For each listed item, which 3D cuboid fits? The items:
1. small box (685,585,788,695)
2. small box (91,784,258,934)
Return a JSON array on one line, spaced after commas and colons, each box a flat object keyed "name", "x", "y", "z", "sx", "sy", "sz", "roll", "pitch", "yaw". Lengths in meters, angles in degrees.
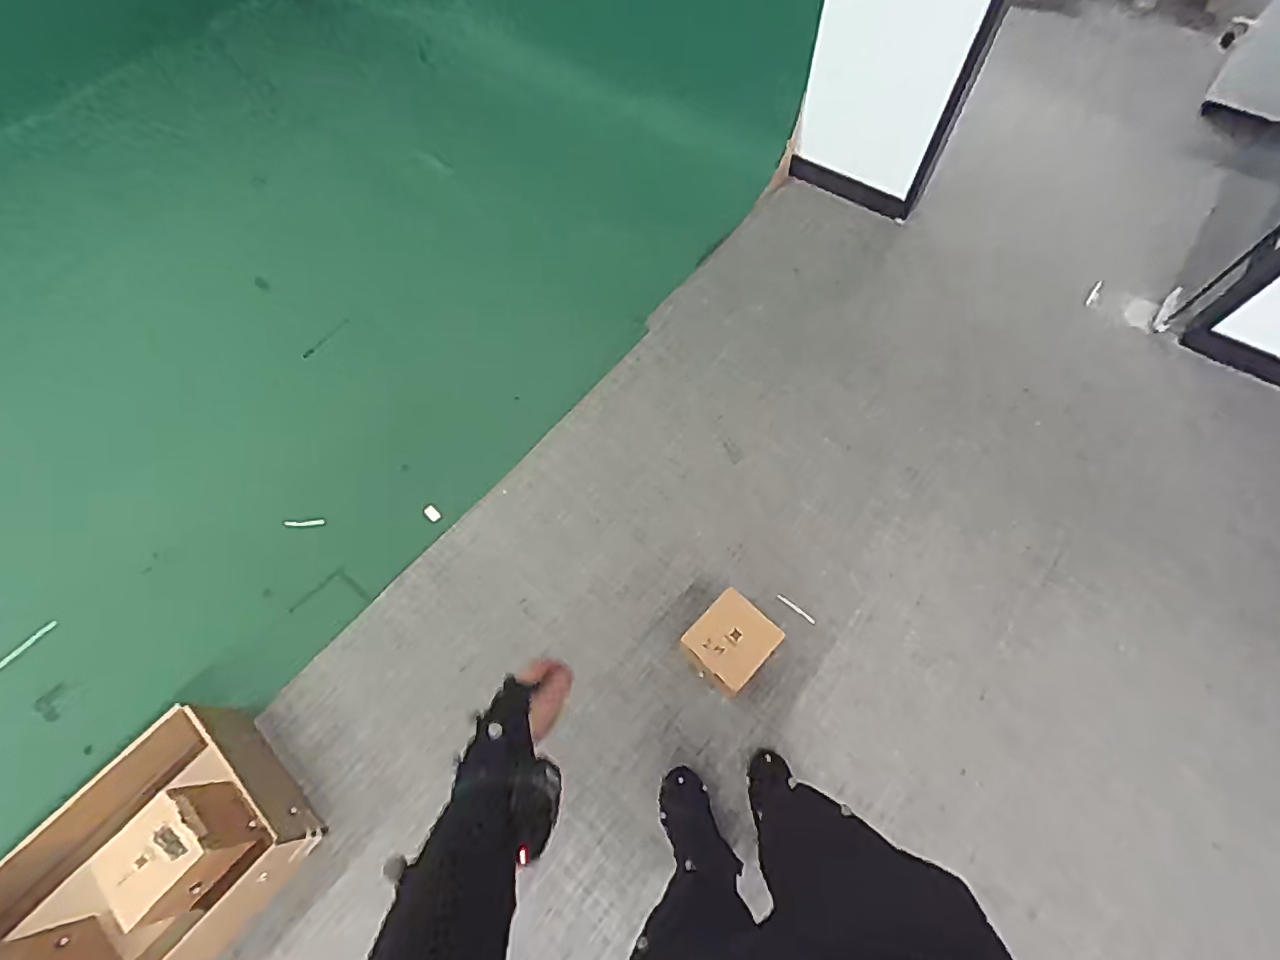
[{"name": "small box", "x": 0.218, "y": 0.382, "z": 1.279, "sx": 0.168, "sy": 0.176, "sz": 0.179, "roll": 41, "pitch": 73, "yaw": 20}, {"name": "small box", "x": -0.934, "y": 0.758, "z": 1.109, "sx": 0.168, "sy": 0.176, "sz": 0.179, "roll": 38, "pitch": 73, "yaw": 18}]
